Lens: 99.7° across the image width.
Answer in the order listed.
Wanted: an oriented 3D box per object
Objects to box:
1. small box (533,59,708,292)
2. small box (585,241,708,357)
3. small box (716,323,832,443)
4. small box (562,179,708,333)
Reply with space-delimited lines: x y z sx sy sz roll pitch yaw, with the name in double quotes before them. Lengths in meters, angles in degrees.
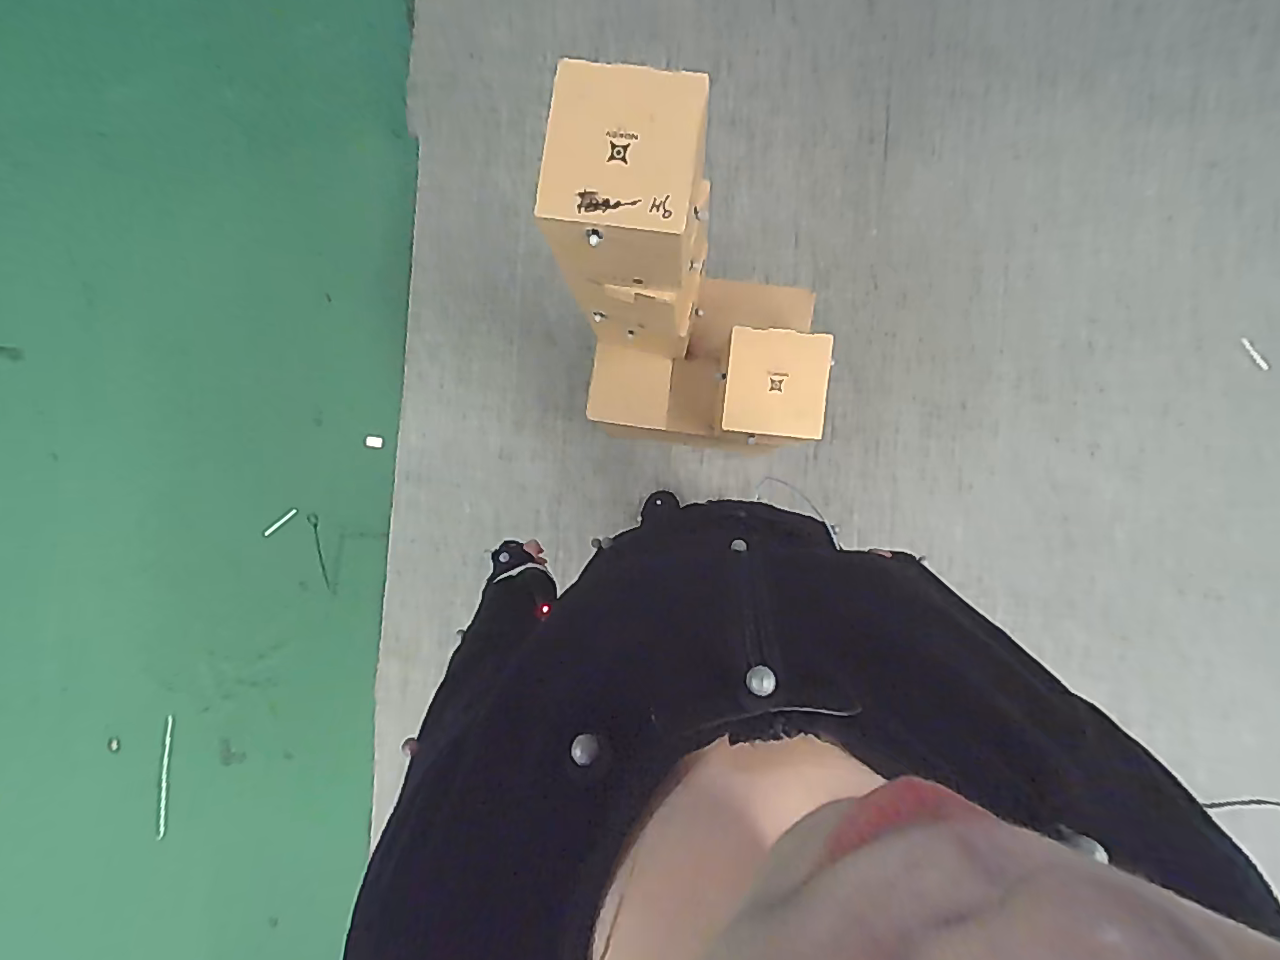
"small box" -0.016 -0.354 0.656 0.168 0.176 0.179 9 89 5
"small box" 0.016 -0.336 0.983 0.179 0.176 0.168 14 90 4
"small box" 0.228 -0.163 0.962 0.168 0.176 0.179 6 90 4
"small box" -0.001 -0.342 0.820 0.168 0.176 0.179 16 89 4
